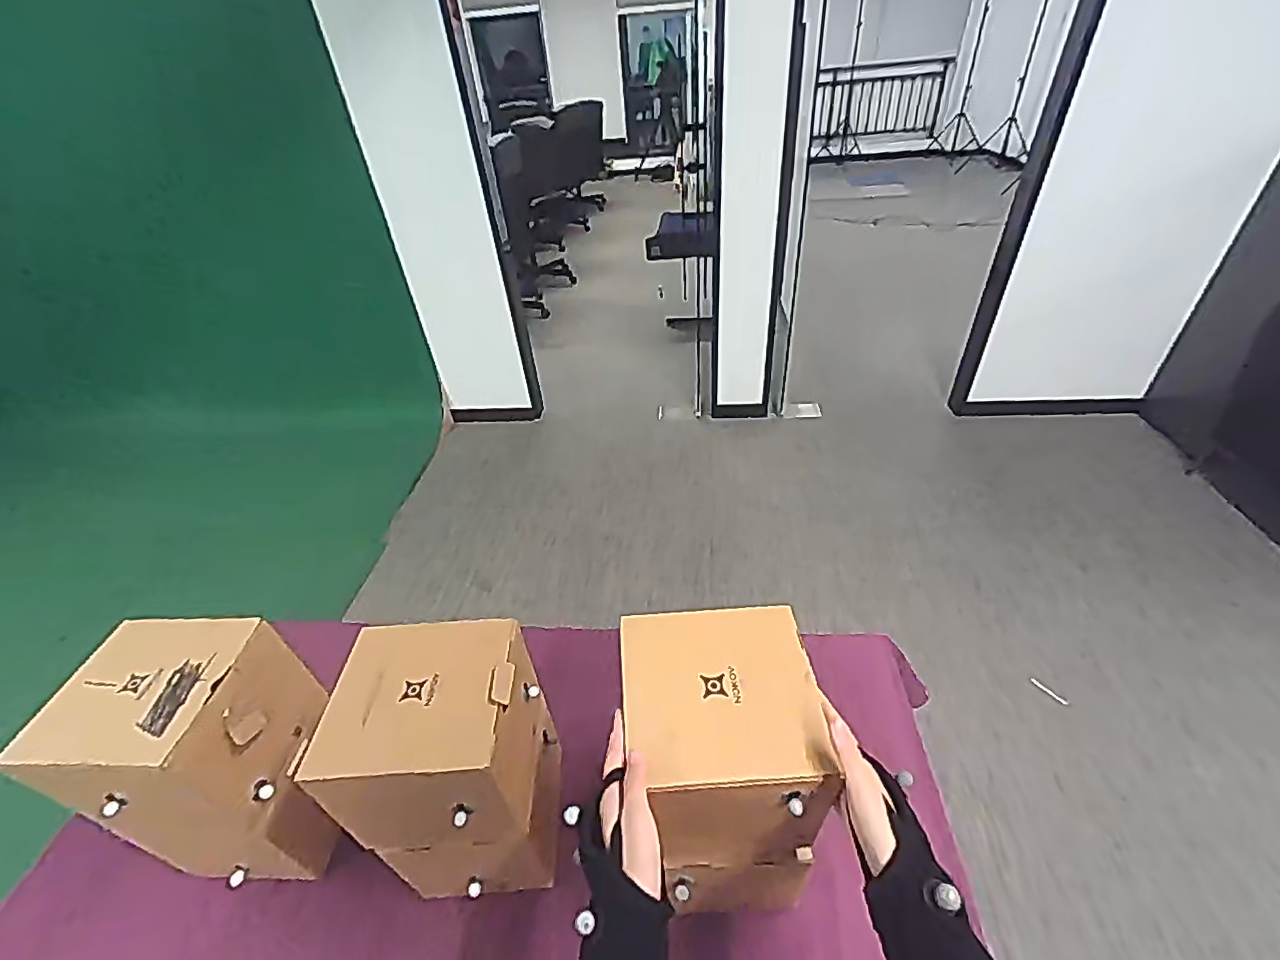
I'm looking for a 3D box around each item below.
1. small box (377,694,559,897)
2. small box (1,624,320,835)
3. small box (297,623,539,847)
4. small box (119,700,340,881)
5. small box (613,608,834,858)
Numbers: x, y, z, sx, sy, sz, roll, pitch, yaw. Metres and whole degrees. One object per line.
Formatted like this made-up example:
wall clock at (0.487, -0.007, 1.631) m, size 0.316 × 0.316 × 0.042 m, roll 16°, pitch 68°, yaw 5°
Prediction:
small box at (-0.202, 0.402, 0.695) m, size 0.168 × 0.176 × 0.179 m, roll -5°, pitch 39°, yaw 1°
small box at (-0.511, 0.282, 0.615) m, size 0.179 × 0.176 × 0.168 m, roll -2°, pitch 39°, yaw 5°
small box at (-0.216, 0.277, 0.591) m, size 0.179 × 0.176 × 0.168 m, roll -5°, pitch 39°, yaw 2°
small box at (-0.499, 0.409, 0.719) m, size 0.179 × 0.176 × 0.168 m, roll -2°, pitch 39°, yaw 5°
small box at (0.068, 0.250, 0.535) m, size 0.179 × 0.176 × 0.168 m, roll -4°, pitch 40°, yaw -2°
